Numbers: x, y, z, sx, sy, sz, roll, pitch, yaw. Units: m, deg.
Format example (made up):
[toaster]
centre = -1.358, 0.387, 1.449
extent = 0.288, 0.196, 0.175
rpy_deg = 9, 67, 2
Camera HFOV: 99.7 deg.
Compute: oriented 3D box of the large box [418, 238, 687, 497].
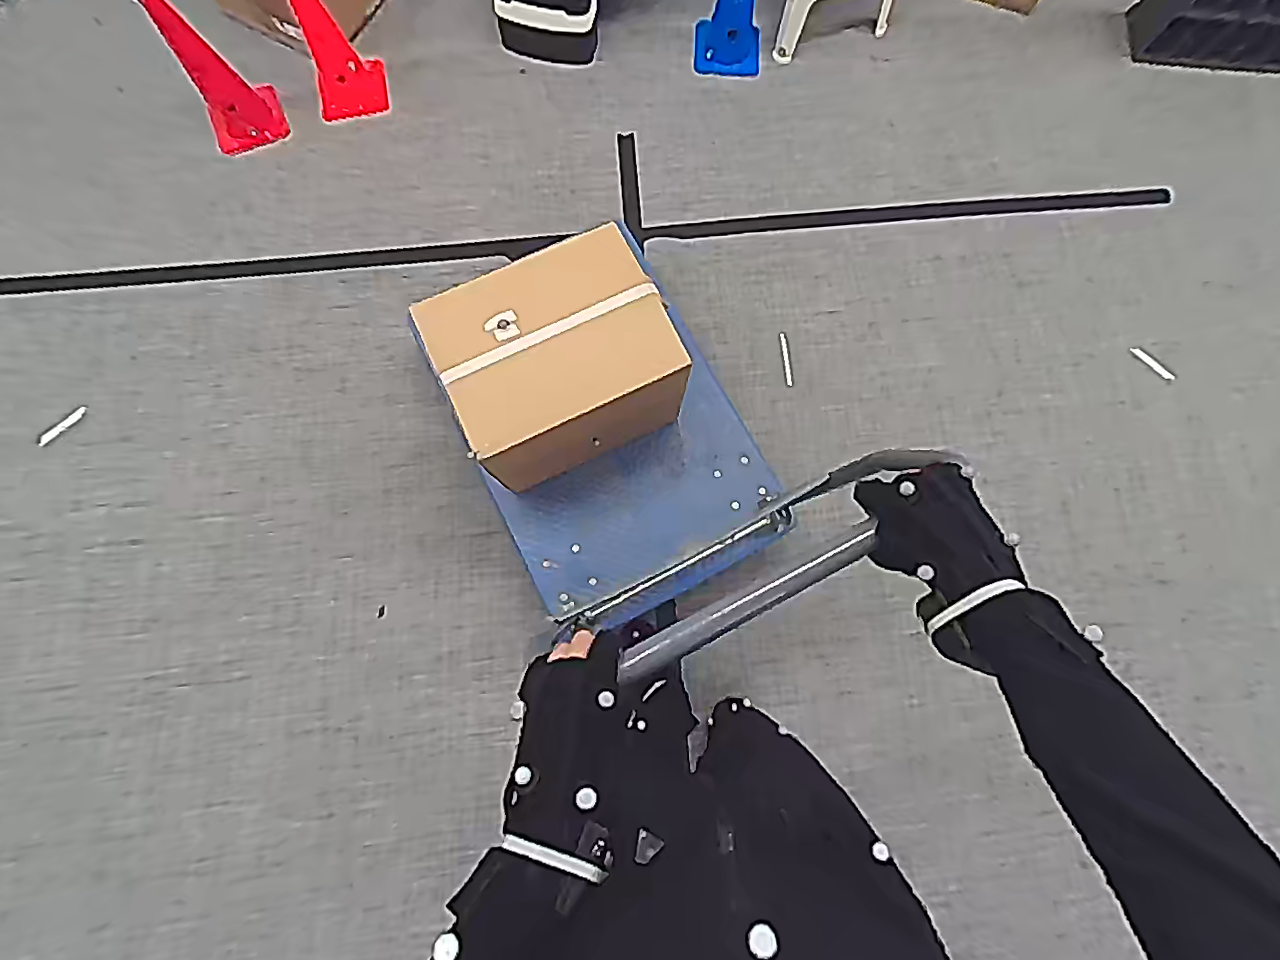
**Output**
[large box]
centre = -0.158, -0.205, 1.108
extent = 0.408, 0.320, 0.320
rpy_deg = -26, 80, -5
